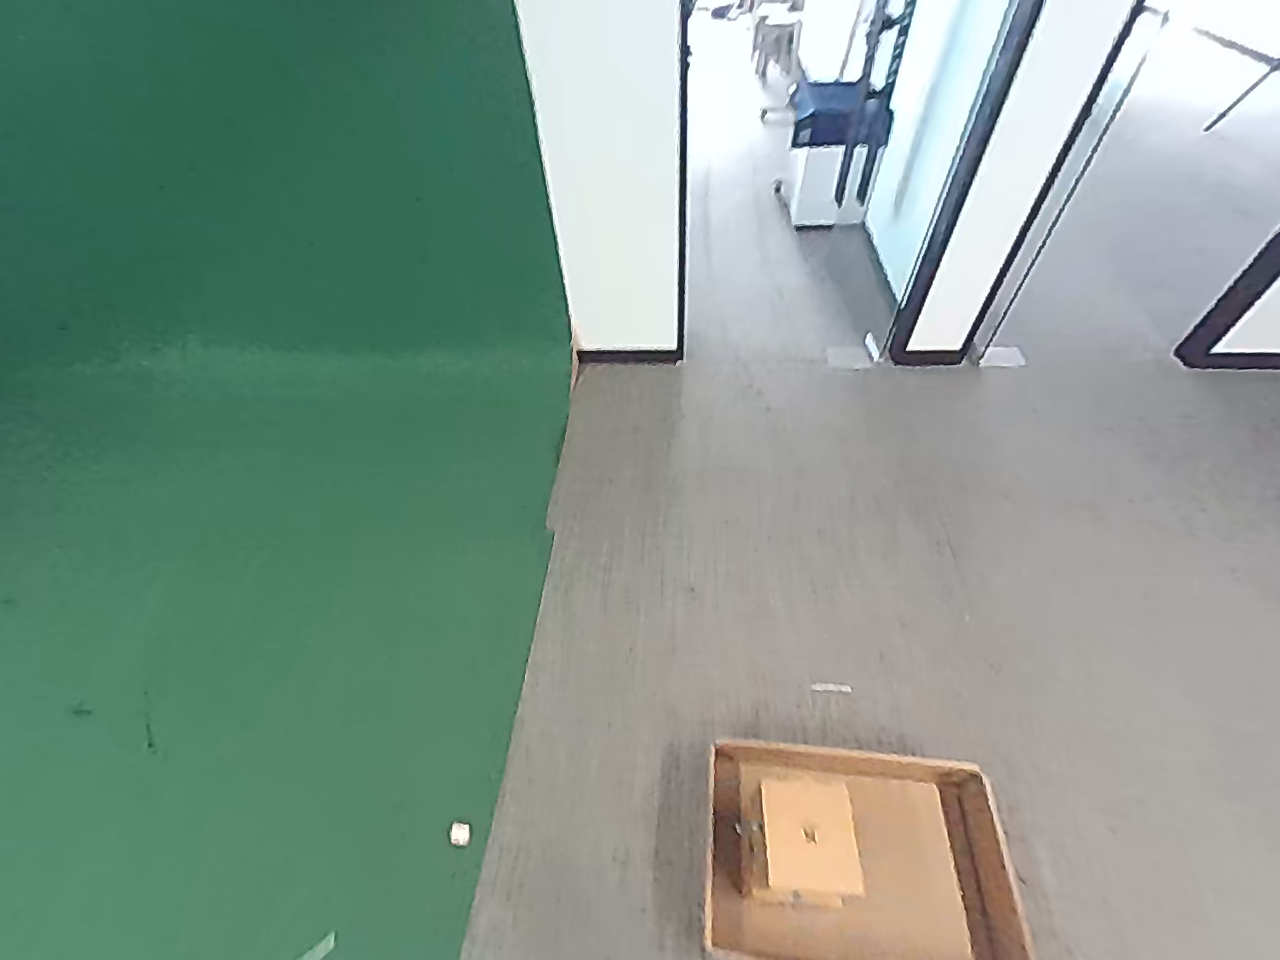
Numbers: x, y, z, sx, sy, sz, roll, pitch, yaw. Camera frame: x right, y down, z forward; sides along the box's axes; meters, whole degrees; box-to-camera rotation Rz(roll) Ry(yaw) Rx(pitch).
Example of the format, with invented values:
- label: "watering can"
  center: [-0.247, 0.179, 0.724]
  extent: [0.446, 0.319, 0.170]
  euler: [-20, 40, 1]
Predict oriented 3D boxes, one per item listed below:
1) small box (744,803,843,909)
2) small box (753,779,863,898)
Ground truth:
- label: "small box"
  center: [0.321, 0.814, 1.170]
  extent: [0.179, 0.176, 0.168]
  euler: [4, 52, 4]
- label: "small box"
  center: [0.317, 0.700, 1.053]
  extent: [0.168, 0.176, 0.179]
  euler: [1, 50, 4]
